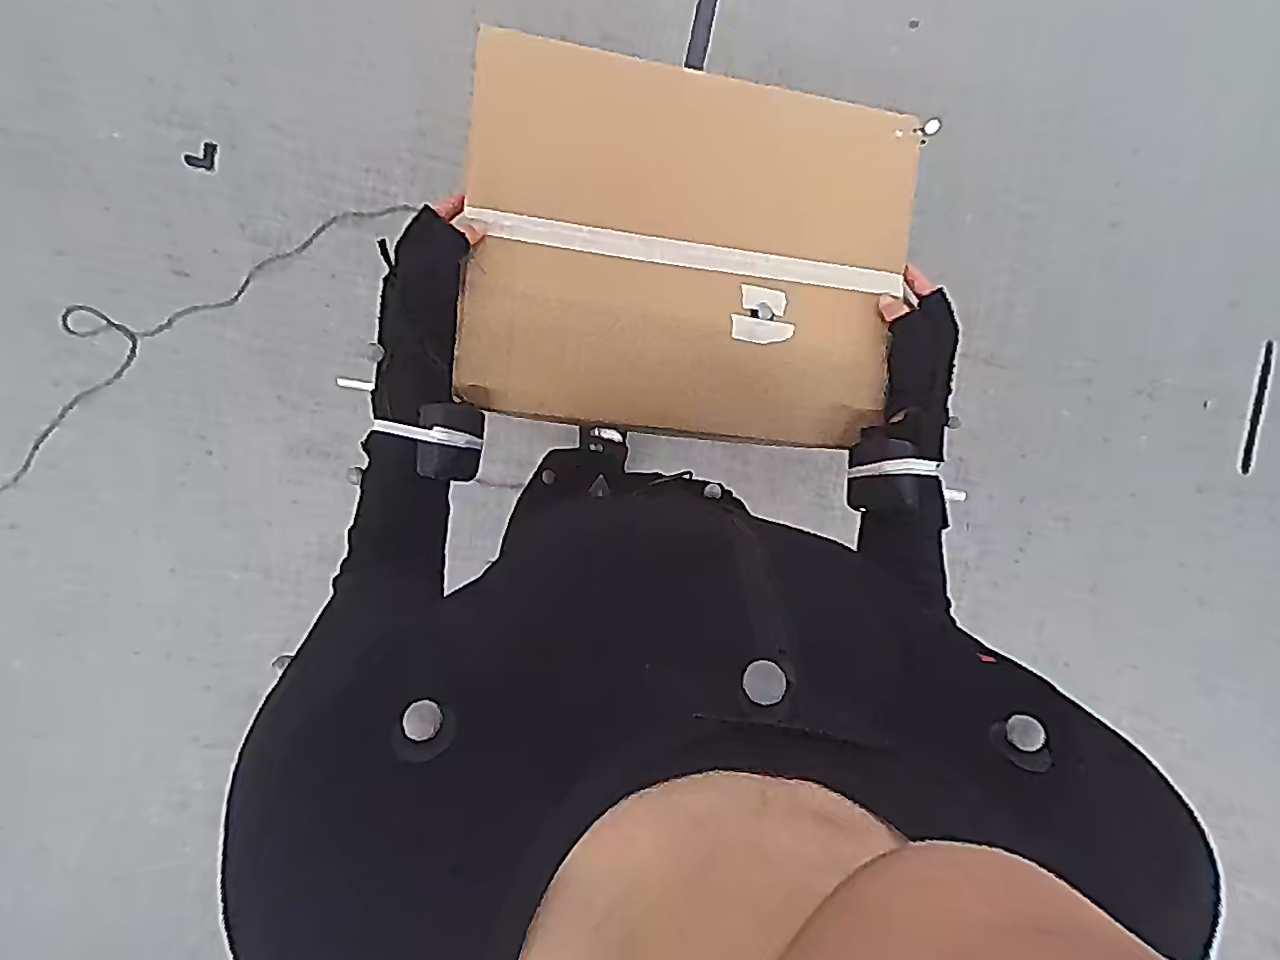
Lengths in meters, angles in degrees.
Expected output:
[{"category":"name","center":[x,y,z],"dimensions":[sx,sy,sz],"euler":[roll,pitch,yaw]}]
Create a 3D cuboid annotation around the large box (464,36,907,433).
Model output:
[{"category":"large box","center":[0.026,-0.226,0.645],"dimensions":[0.408,0.320,0.320],"euler":[5,95,-9]}]
